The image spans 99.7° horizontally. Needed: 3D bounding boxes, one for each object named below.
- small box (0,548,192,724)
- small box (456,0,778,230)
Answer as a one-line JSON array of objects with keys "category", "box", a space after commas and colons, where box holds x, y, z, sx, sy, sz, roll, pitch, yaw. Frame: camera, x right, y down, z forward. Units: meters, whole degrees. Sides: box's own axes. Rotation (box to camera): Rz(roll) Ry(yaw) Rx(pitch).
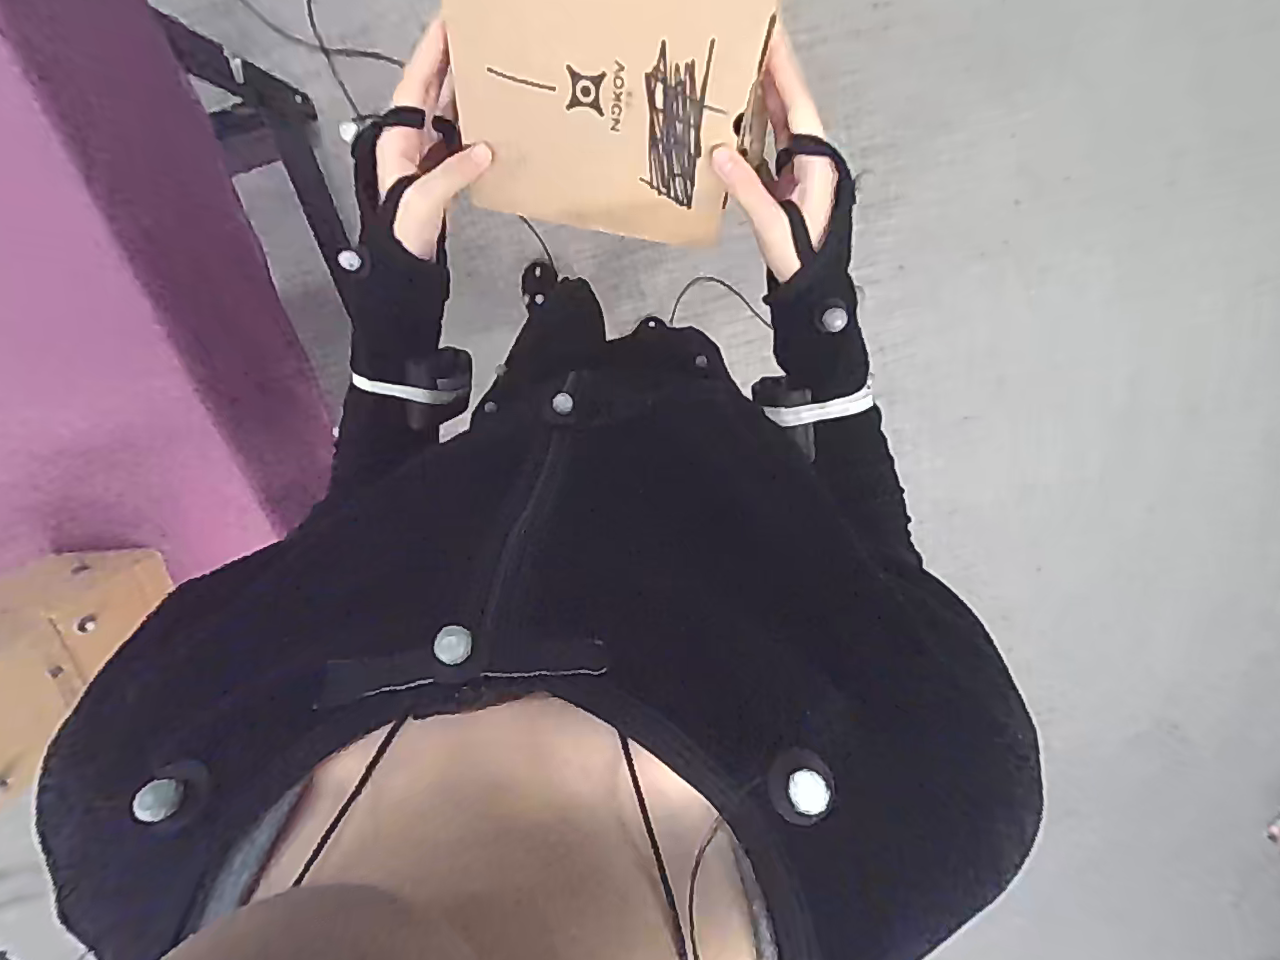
[{"category": "small box", "box": [-0.787, 0.211, 0.757, 0.168, 0.176, 0.179, -3, 108, 1]}, {"category": "small box", "box": [-0.009, -0.304, 0.365, 0.179, 0.176, 0.168, 11, 144, -1]}]
